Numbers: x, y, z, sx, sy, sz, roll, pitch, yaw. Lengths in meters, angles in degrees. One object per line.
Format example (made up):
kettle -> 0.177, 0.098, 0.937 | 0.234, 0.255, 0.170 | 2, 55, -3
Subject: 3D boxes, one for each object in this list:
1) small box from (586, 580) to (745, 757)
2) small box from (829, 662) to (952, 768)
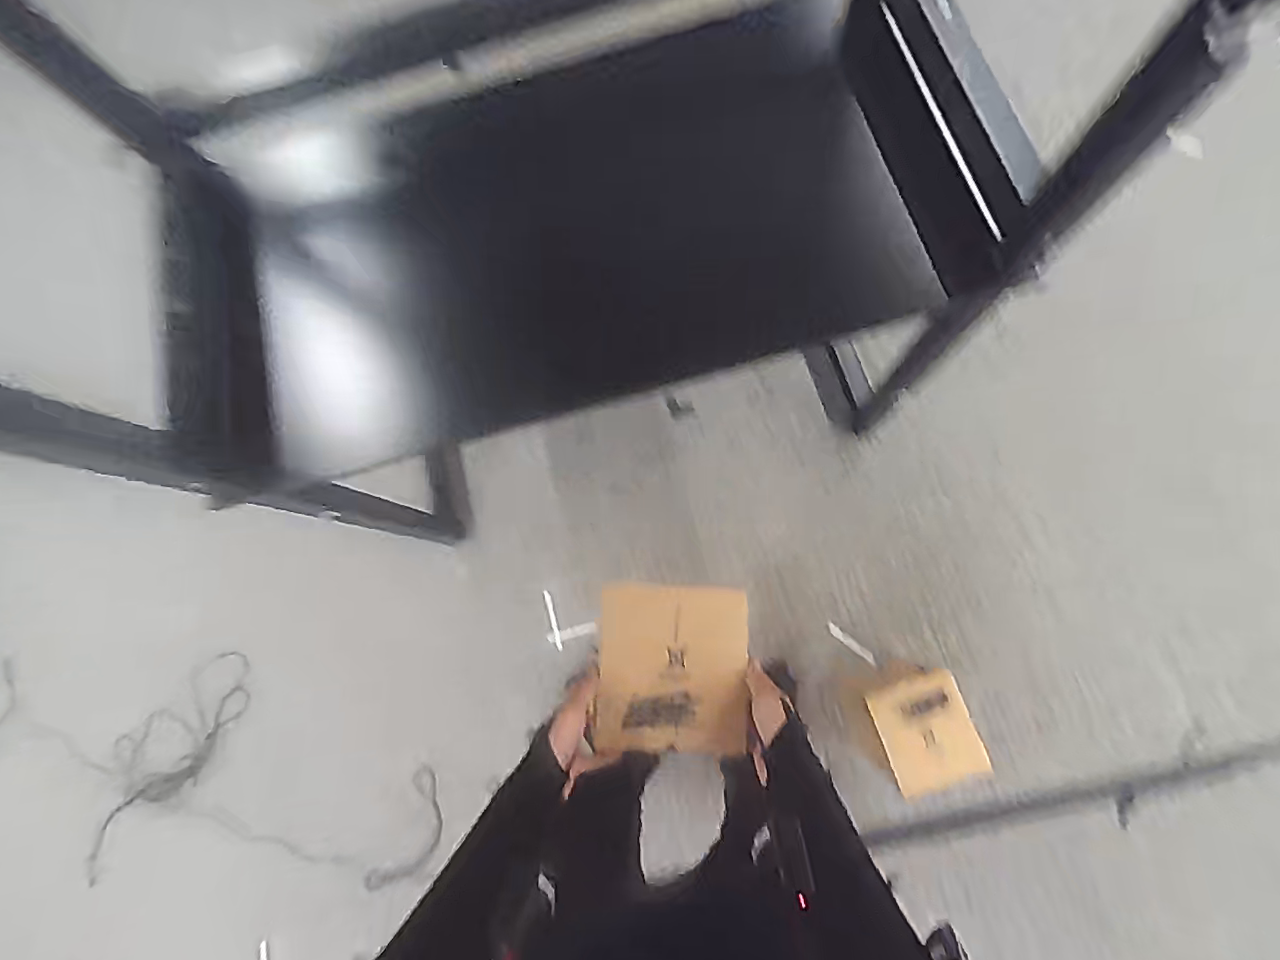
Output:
small box -> 0.023, 0.220, 0.663 | 0.168, 0.176, 0.179 | 6, 76, -6
small box -> 0.547, 0.513, 1.205 | 0.179, 0.176, 0.168 | -15, 76, 4
